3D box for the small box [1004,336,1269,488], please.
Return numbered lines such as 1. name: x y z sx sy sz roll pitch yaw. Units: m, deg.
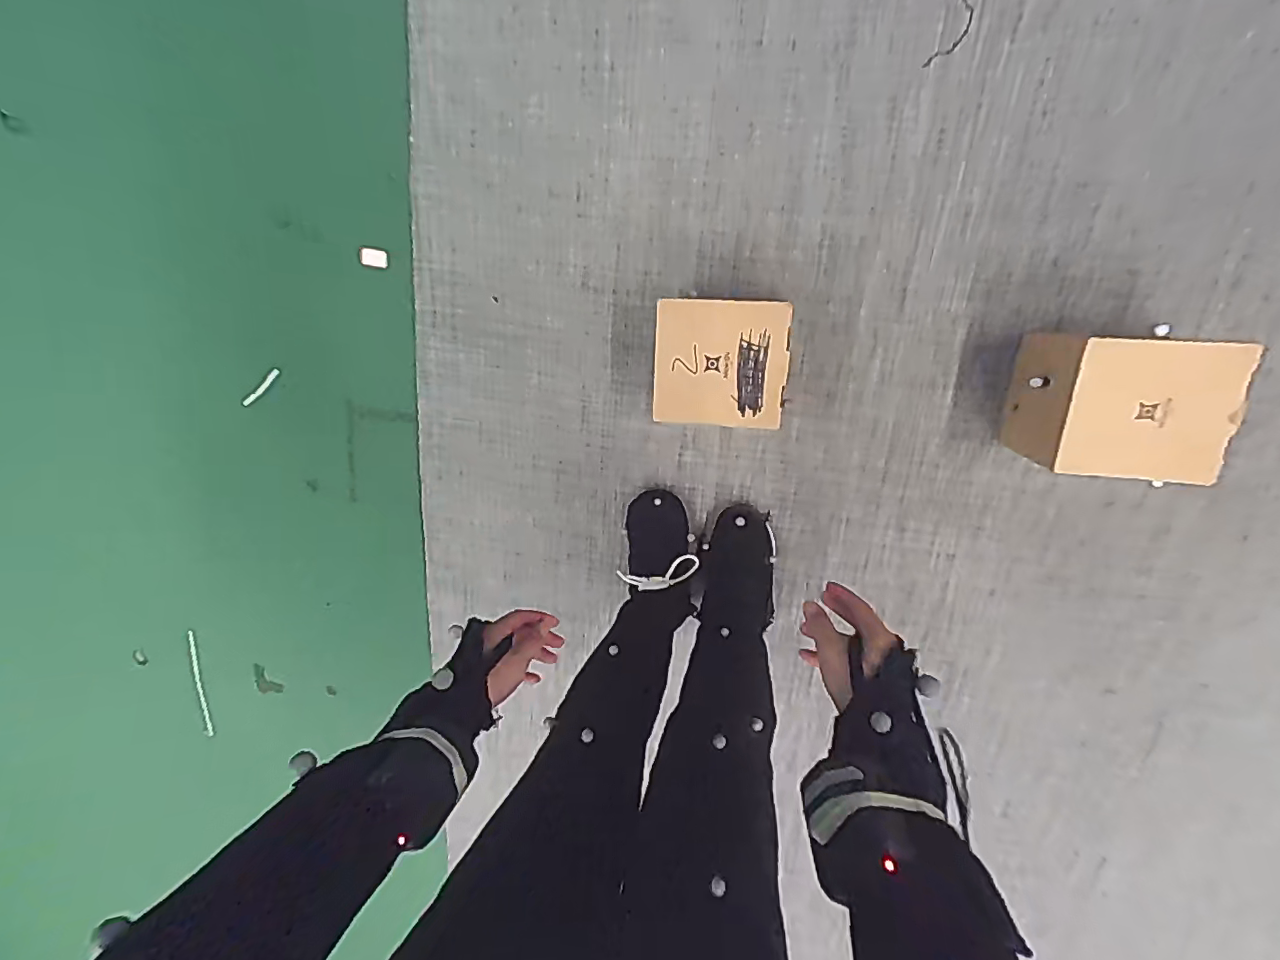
1. small box: 0.608 -0.097 0.696 0.179 0.176 0.168 4 107 10
